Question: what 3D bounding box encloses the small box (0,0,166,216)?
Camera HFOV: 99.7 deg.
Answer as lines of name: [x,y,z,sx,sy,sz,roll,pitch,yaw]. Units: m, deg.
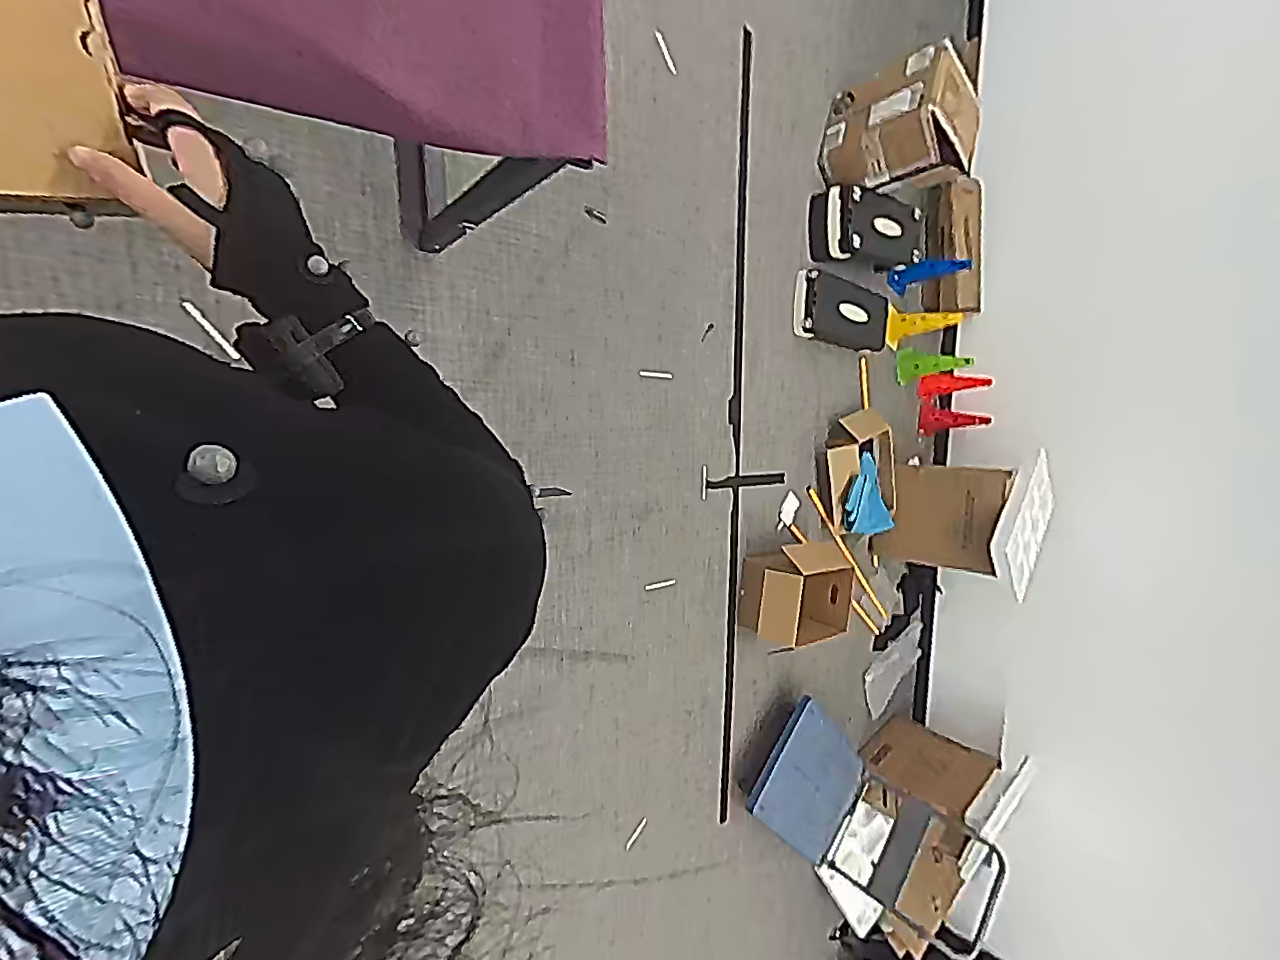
small box: [-0.428,-0.261,0.335,0.179,0.176,0.168,-17,118,-36]
